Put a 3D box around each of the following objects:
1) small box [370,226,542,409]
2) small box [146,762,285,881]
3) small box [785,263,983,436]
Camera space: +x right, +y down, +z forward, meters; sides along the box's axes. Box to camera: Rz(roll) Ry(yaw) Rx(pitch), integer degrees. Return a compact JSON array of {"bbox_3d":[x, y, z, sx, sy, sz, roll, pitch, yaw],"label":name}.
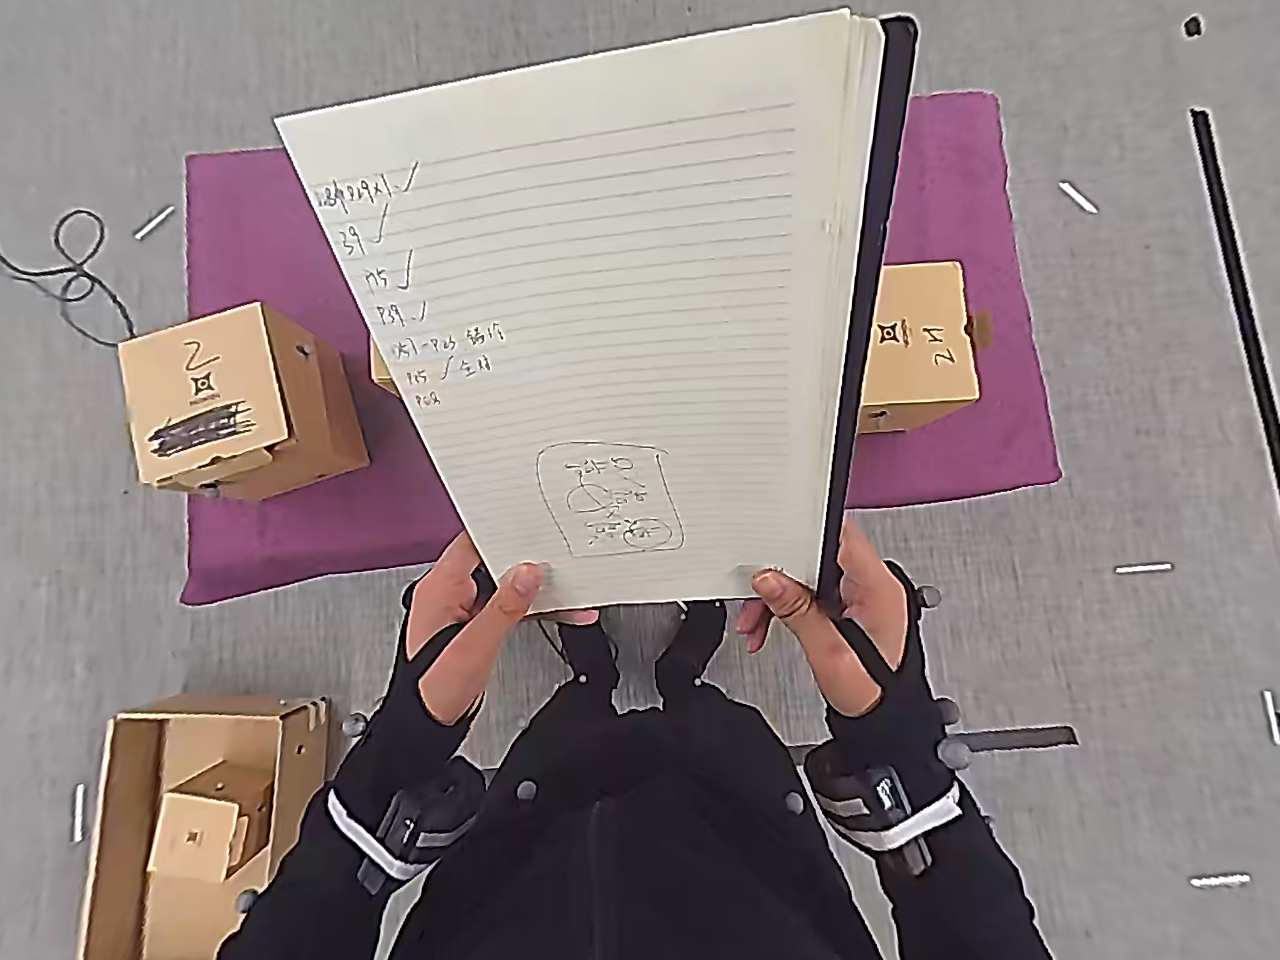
[{"bbox_3d":[-0.222,-0.192,0.690,0.168,0.176,0.179,-4,82,-1],"label":"small box"},{"bbox_3d":[-0.973,0.783,1.257,0.179,0.176,0.168,9,84,1],"label":"small box"},{"bbox_3d":[0.290,-0.153,0.686,0.179,0.176,0.168,-3,83,-1],"label":"small box"}]
